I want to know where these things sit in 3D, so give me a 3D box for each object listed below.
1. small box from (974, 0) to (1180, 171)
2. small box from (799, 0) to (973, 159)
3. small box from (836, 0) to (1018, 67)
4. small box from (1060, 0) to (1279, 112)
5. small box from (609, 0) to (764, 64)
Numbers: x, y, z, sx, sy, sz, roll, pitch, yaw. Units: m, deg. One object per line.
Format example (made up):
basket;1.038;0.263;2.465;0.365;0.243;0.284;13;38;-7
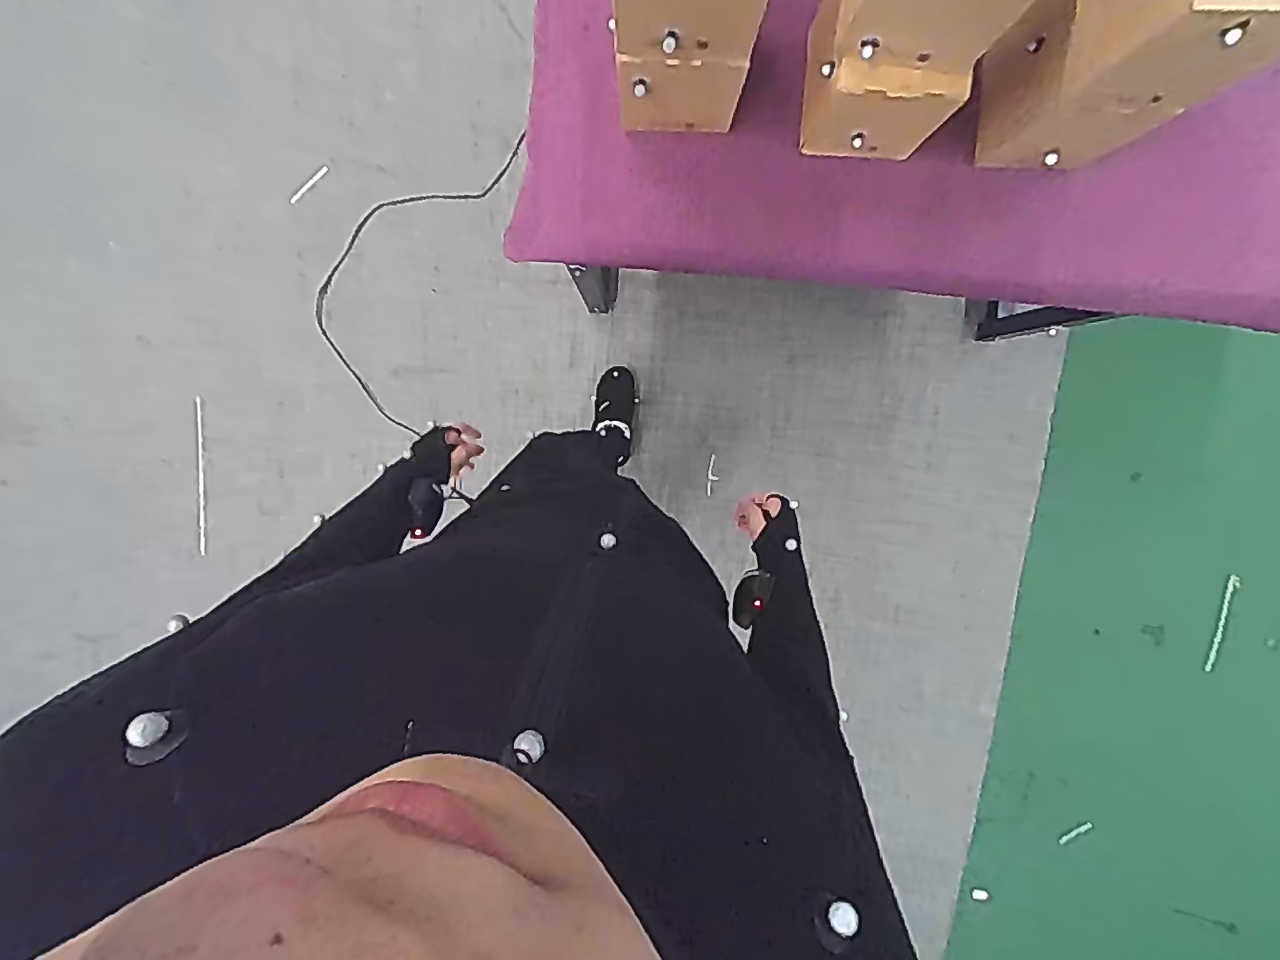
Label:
small box;0.591;-0.554;0.739;0.168;0.176;0.179;1;97;0
small box;0.326;-0.572;0.736;0.168;0.176;0.179;2;98;-1
small box;0.324;-0.582;0.569;0.168;0.176;0.179;7;97;-2
small box;0.594;-0.535;0.577;0.168;0.176;0.179;0;96;0
small box;0.051;-0.584;0.563;0.168;0.176;0.179;1;97;-1
